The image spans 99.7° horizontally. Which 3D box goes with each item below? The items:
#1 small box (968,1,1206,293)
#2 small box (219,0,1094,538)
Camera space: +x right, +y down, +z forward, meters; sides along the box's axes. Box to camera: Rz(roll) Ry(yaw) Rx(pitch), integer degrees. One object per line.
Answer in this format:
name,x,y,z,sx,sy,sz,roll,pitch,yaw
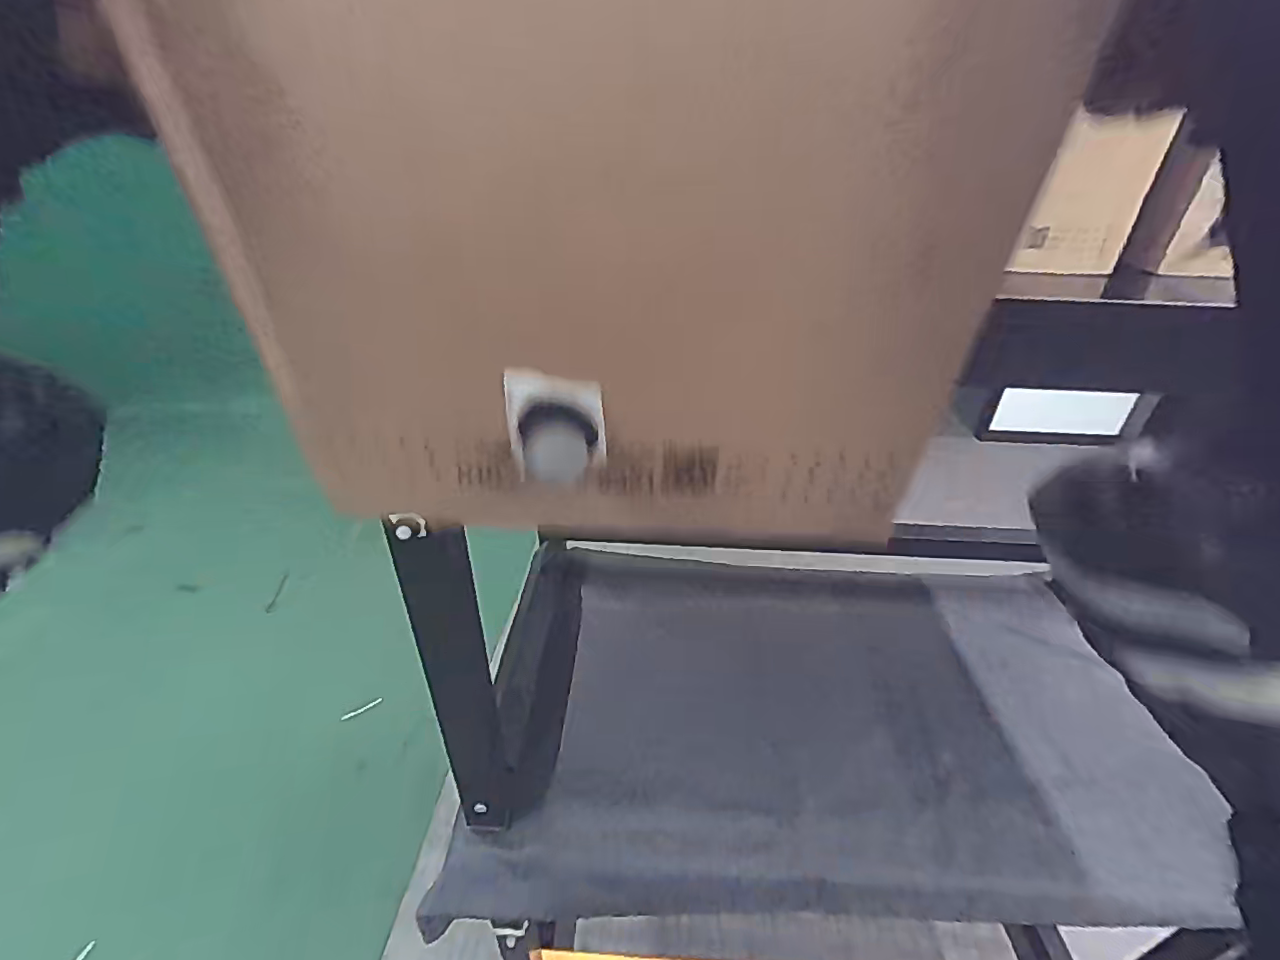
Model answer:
small box,0.261,-0.261,0.439,0.168,0.176,0.179,3,32,2
small box,-0.003,-0.102,0.188,0.168,0.176,0.179,1,40,0
